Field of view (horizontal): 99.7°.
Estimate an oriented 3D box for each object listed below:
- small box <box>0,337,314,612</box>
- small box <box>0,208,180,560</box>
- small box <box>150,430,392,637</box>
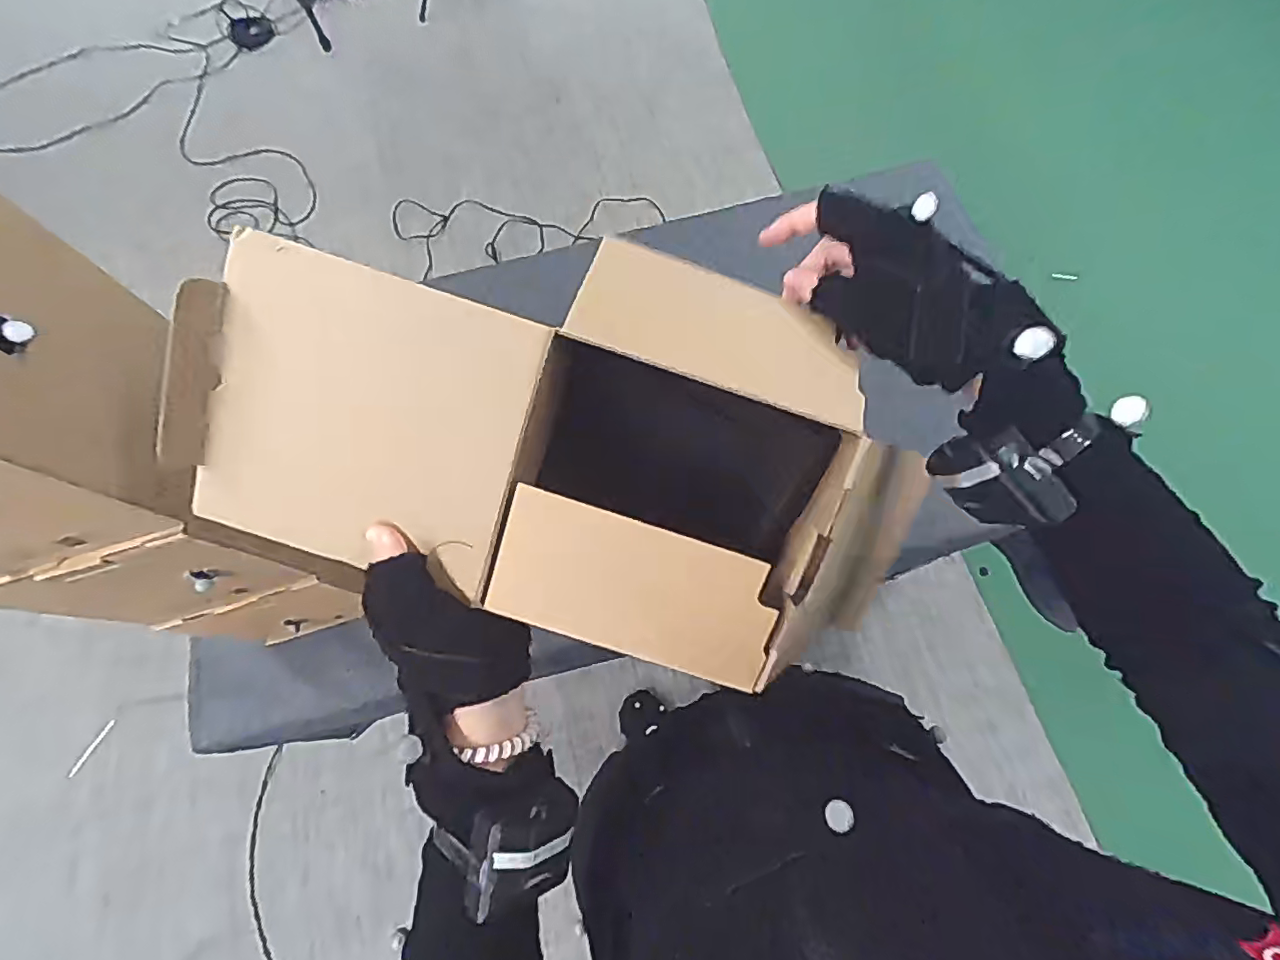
[{"bbox_3d":[-0.417,0.010,0.478,0.168,0.176,0.179,-16,70,-5],"label":"small box"},{"bbox_3d":[-0.425,-0.054,0.327,0.168,0.176,0.179,-17,70,-6],"label":"small box"},{"bbox_3d":[-0.413,0.071,0.629,0.168,0.176,0.179,-17,70,-4],"label":"small box"}]
